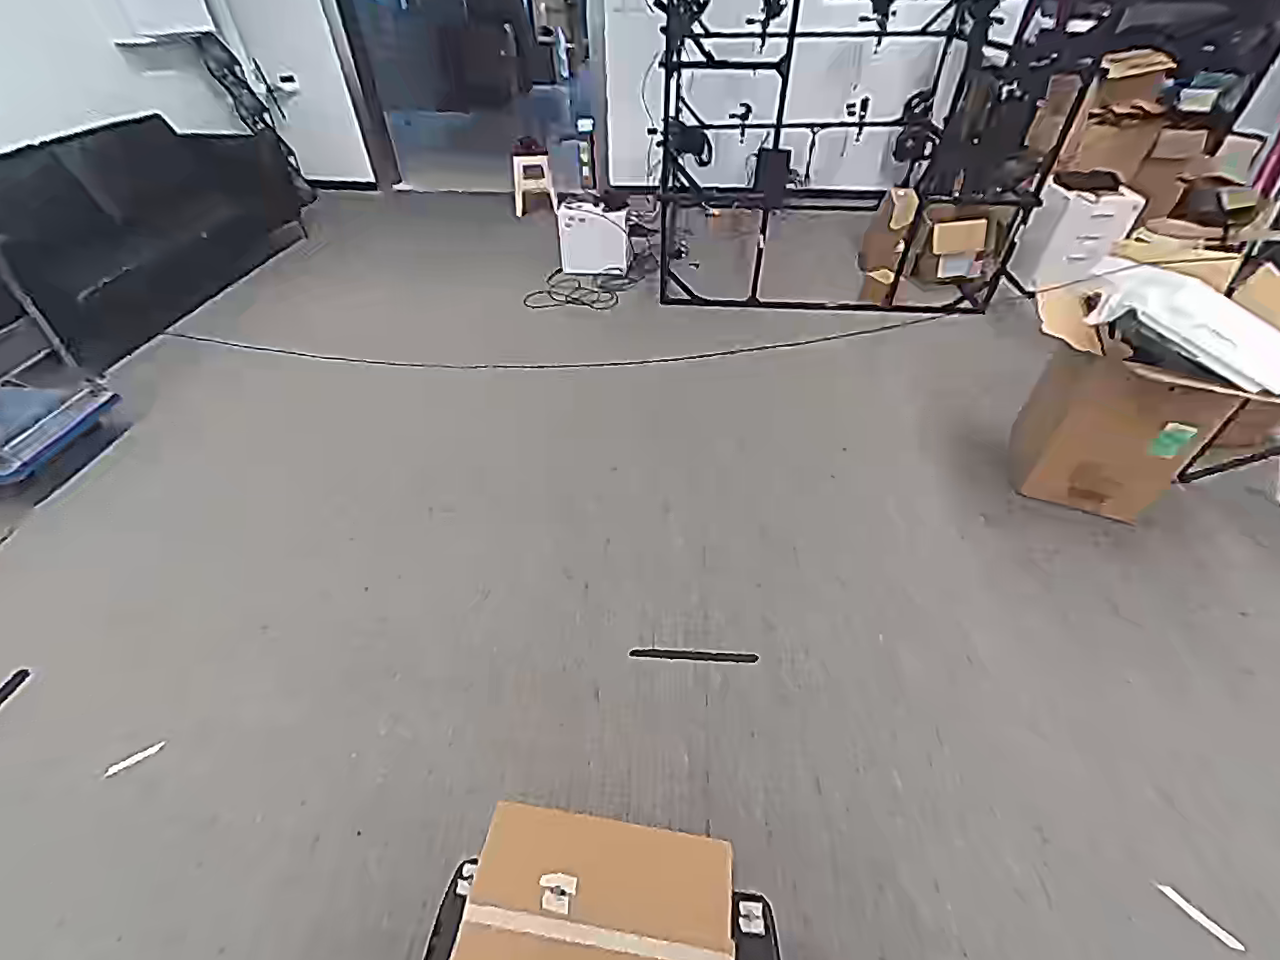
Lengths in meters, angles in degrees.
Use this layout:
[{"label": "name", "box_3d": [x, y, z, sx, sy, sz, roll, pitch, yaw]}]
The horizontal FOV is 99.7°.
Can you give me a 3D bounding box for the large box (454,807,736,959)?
[{"label": "large box", "box_3d": [-0.058, 0.782, 0.884, 0.408, 0.320, 0.320, 5, 42, 8]}]
